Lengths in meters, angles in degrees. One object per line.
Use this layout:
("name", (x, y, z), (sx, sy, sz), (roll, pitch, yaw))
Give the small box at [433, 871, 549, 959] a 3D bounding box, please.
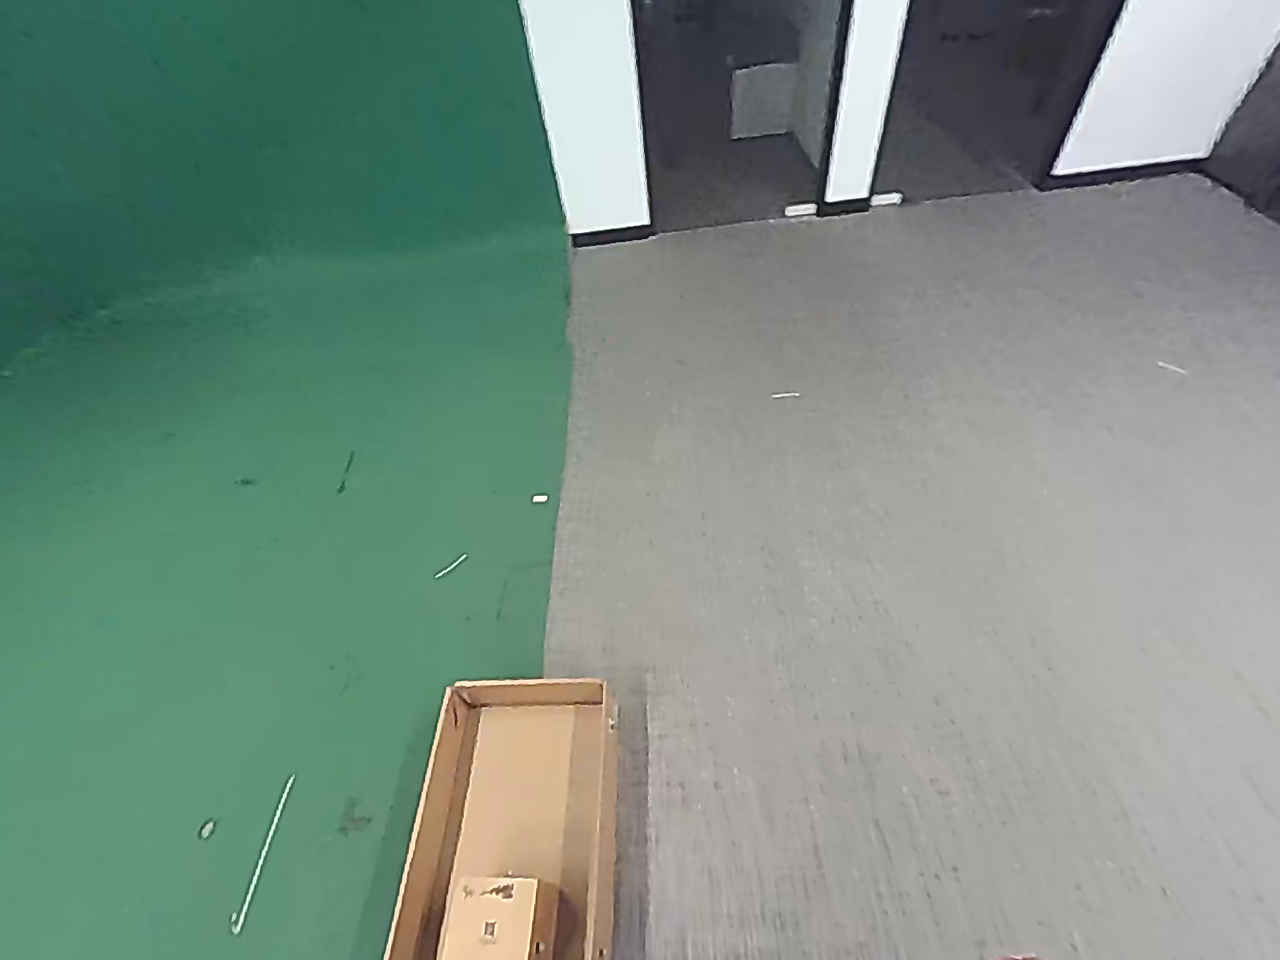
("small box", (-0.281, 0.877, 1.051), (0.168, 0.176, 0.179), (-2, 50, 4))
